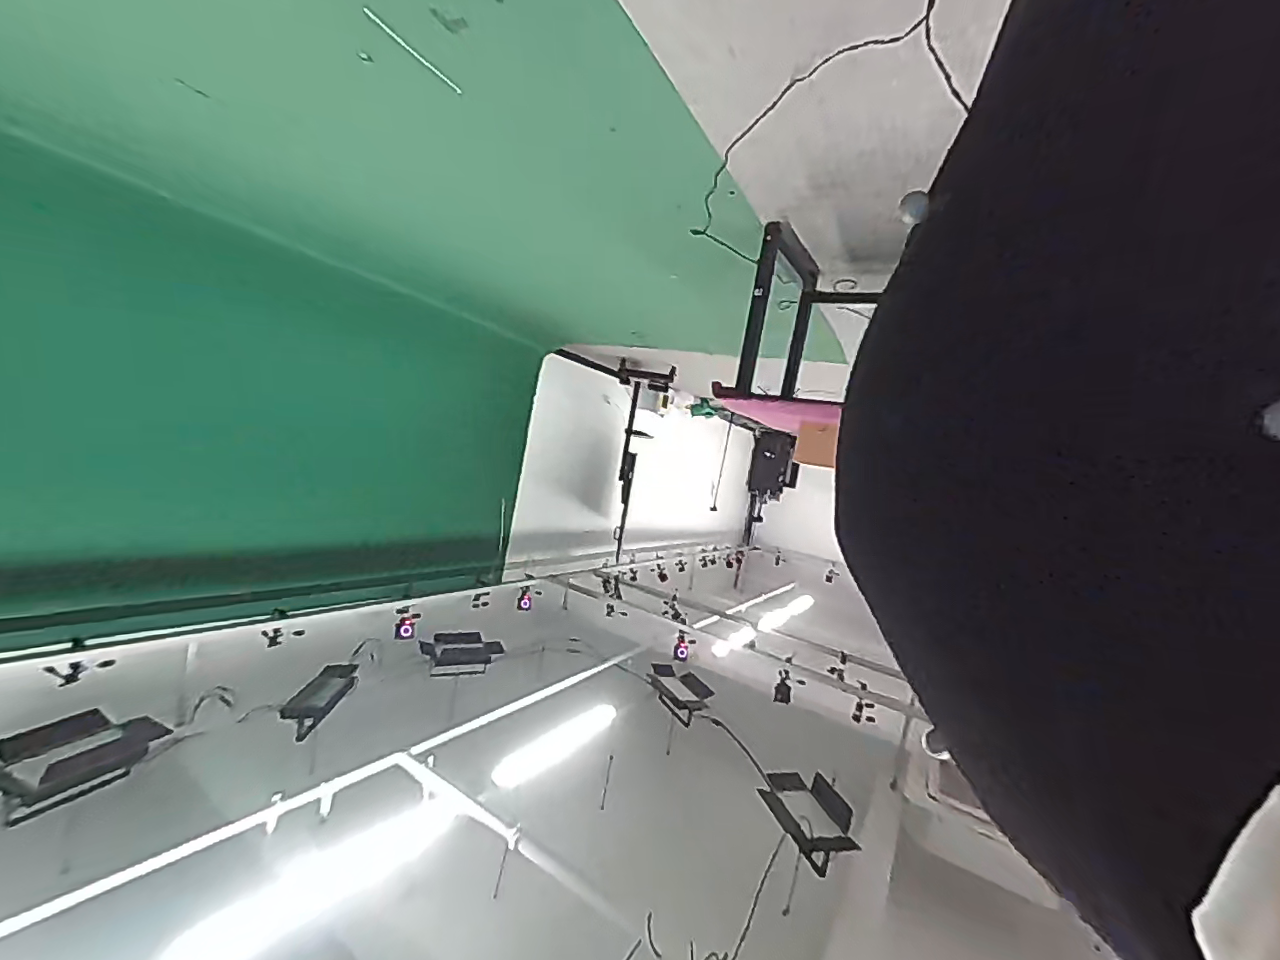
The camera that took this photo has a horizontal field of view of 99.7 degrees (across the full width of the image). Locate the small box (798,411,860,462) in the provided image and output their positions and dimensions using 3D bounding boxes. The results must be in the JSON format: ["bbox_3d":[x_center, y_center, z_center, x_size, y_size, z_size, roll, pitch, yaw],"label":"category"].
[{"bbox_3d":[0.743,-0.175,2.120,0.179,0.176,0.168,13,-175,32],"label":"small box"}]
